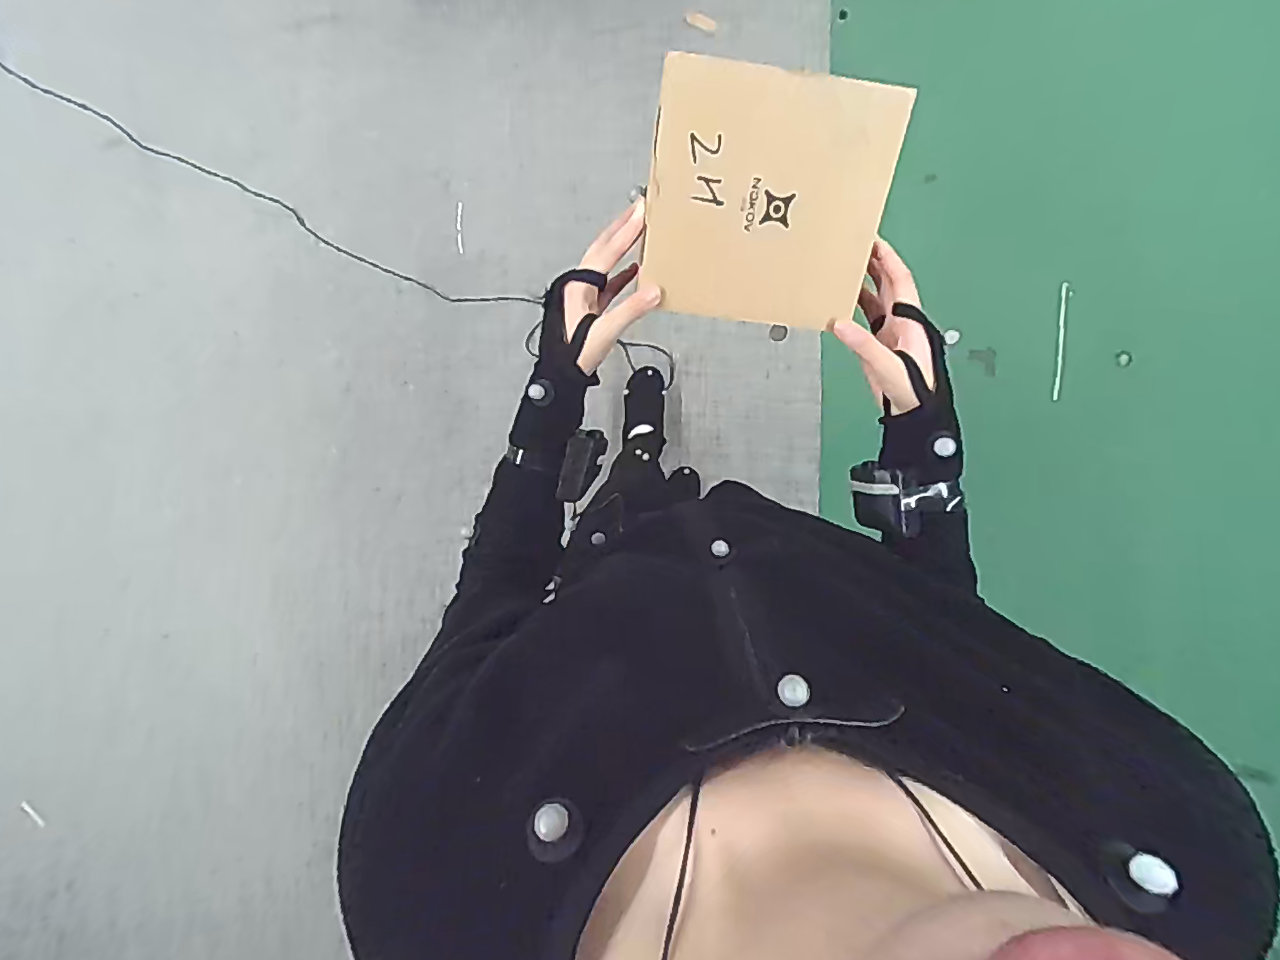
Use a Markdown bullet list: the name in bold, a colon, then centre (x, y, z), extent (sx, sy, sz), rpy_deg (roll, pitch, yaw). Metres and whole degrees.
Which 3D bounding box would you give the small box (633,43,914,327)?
- **small box**: centre (0.091, -0.239, 0.468), extent (0.179, 0.176, 0.168), rpy_deg (7, 114, -3)
